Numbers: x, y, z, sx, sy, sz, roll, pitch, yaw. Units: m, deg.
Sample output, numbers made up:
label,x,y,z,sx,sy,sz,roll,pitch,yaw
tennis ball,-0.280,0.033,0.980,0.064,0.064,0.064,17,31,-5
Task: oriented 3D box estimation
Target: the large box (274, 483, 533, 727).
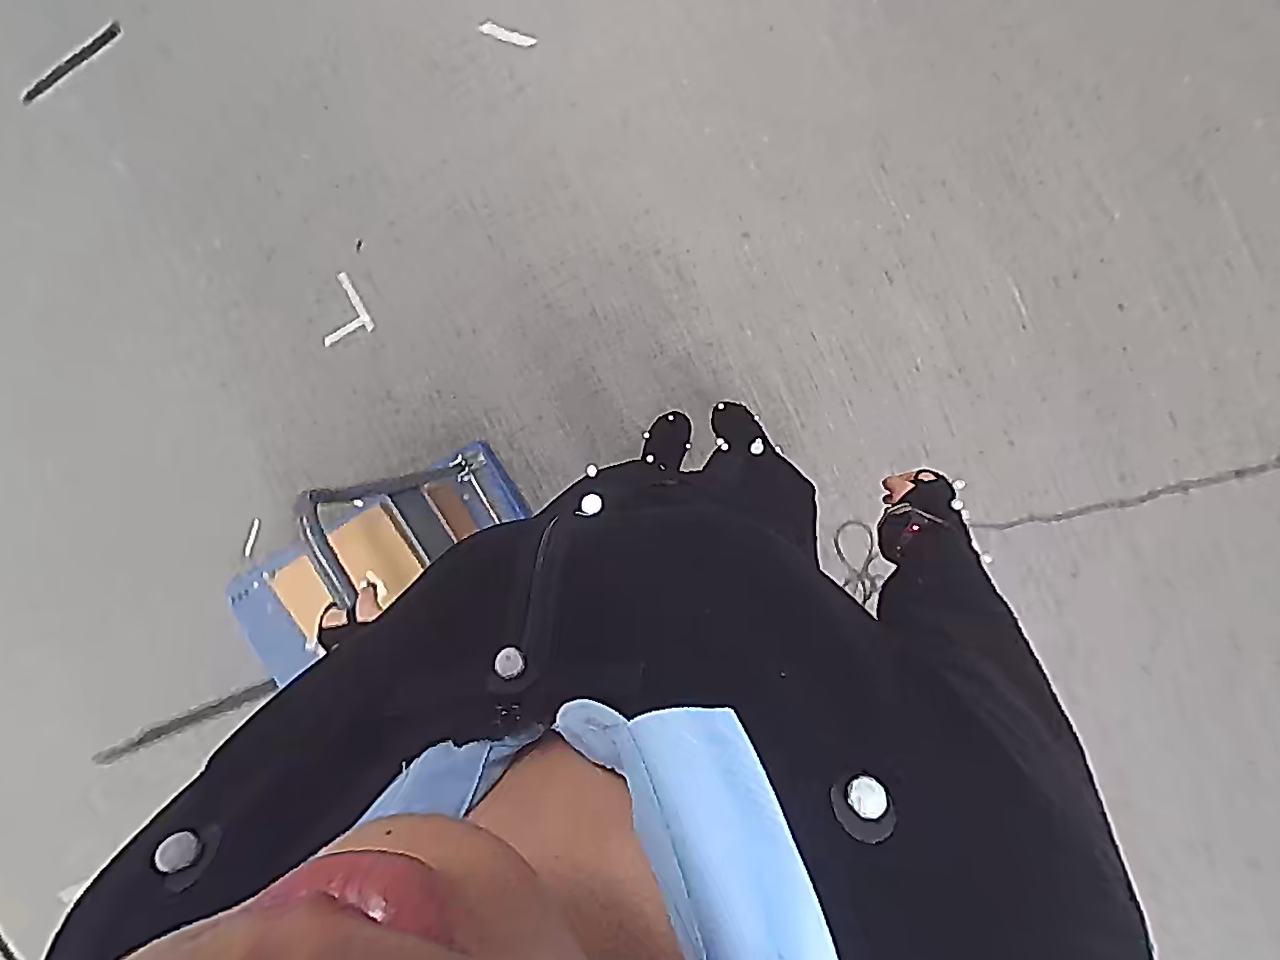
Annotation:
label,x,y,z,sx,sy,sz,roll,pitch,yaw
large box,-0.519,0.268,1.263,0.320,0.320,0.408,-32,93,9
